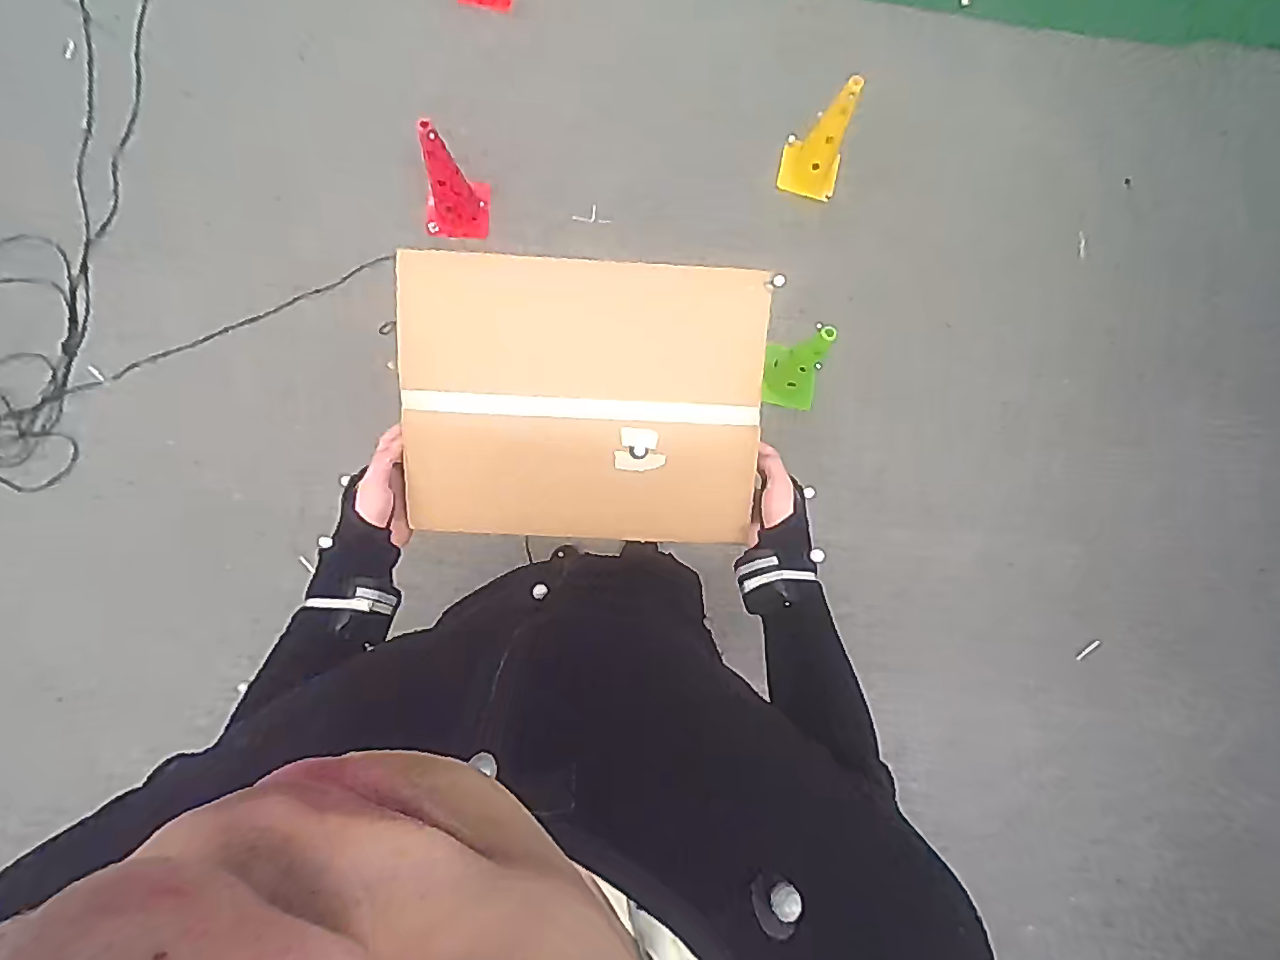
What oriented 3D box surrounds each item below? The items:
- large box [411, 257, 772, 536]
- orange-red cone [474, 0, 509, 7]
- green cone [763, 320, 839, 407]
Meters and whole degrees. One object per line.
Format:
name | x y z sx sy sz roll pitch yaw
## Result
large box | -0.061 -0.116 0.767 0.408 0.320 0.320 2 103 -2
orange-red cone | -0.523 -1.760 1.701 0.199 0.360 0.198 12 81 -1
green cone | 0.494 -0.373 1.602 0.200 0.368 0.202 10 81 -3
